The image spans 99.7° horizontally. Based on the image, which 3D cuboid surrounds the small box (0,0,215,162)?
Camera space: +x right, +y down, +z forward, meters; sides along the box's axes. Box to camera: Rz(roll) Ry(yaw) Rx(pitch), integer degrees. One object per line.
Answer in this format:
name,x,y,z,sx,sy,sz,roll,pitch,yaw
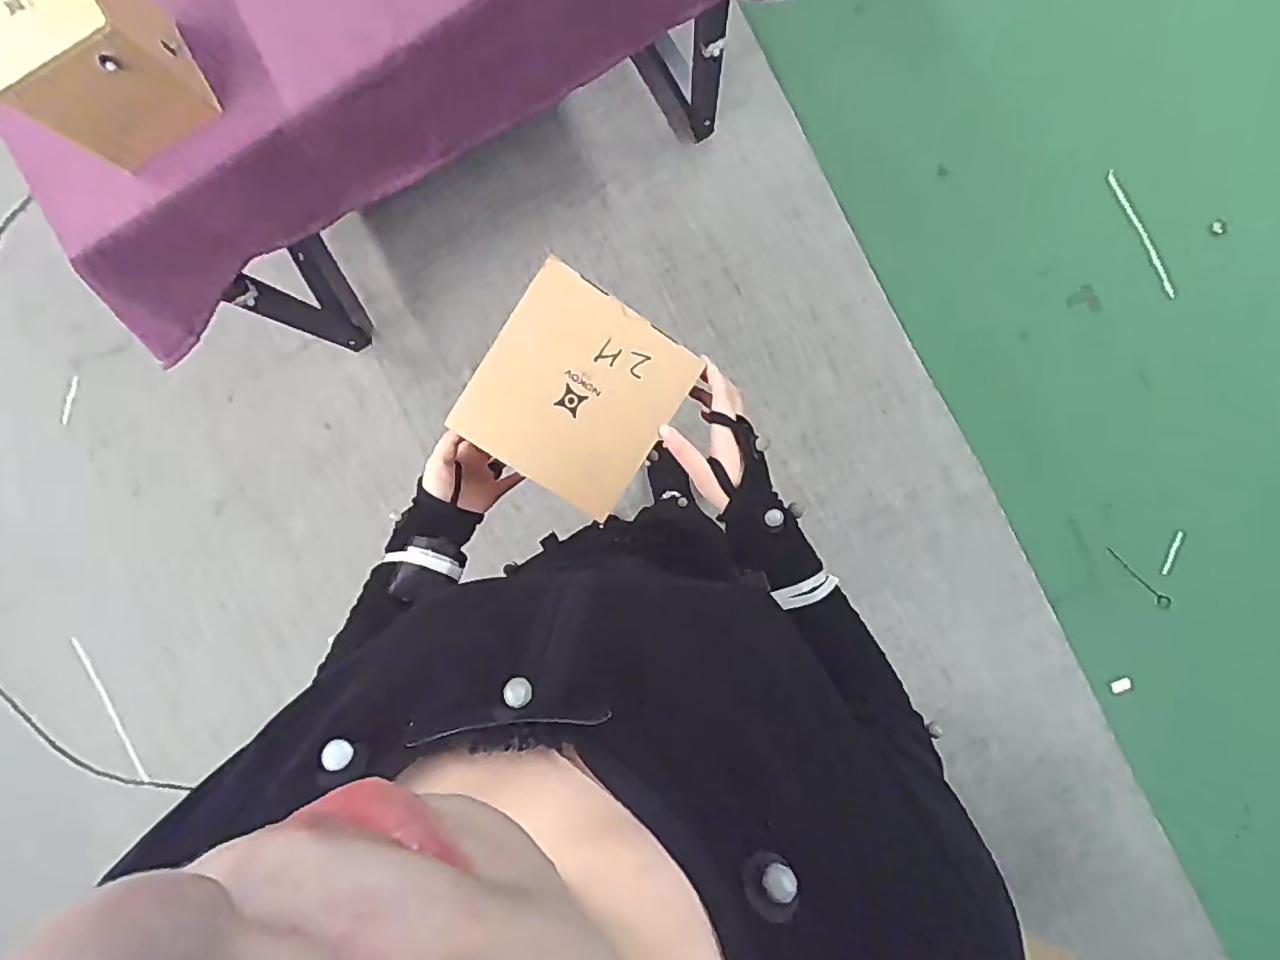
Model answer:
small box,-0.731,-0.571,0.717,0.179,0.176,0.168,-30,89,1
